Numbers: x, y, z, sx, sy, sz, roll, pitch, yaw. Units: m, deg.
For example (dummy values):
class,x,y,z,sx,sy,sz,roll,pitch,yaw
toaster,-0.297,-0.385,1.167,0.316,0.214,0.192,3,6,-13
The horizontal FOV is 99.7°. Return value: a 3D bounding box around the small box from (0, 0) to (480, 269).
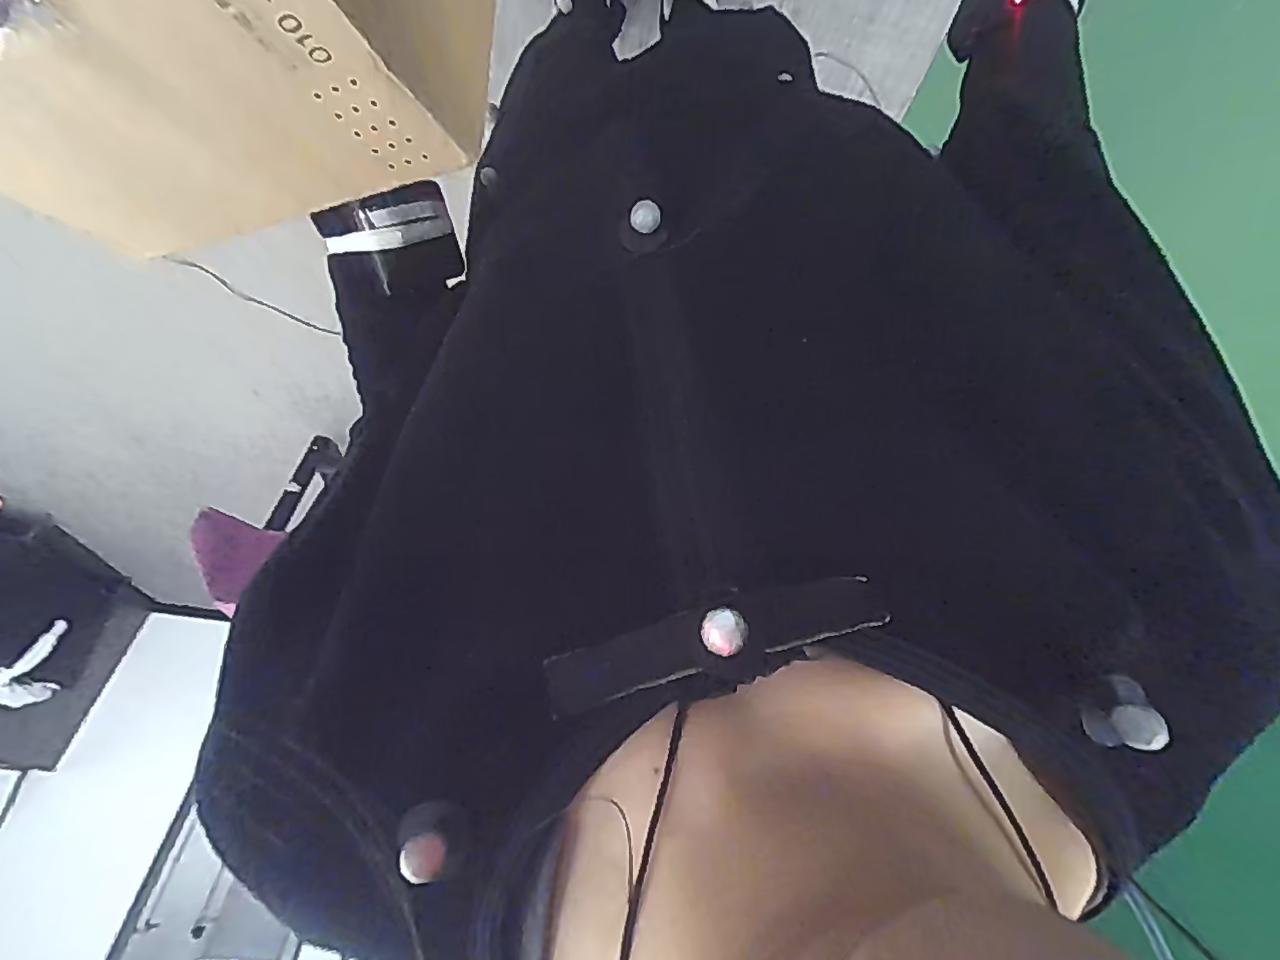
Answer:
class,x,y,z,sx,sy,sz,roll,pitch,yaw
small box,-0.158,-0.191,0.146,0.176,0.179,0.168,-2,168,21
